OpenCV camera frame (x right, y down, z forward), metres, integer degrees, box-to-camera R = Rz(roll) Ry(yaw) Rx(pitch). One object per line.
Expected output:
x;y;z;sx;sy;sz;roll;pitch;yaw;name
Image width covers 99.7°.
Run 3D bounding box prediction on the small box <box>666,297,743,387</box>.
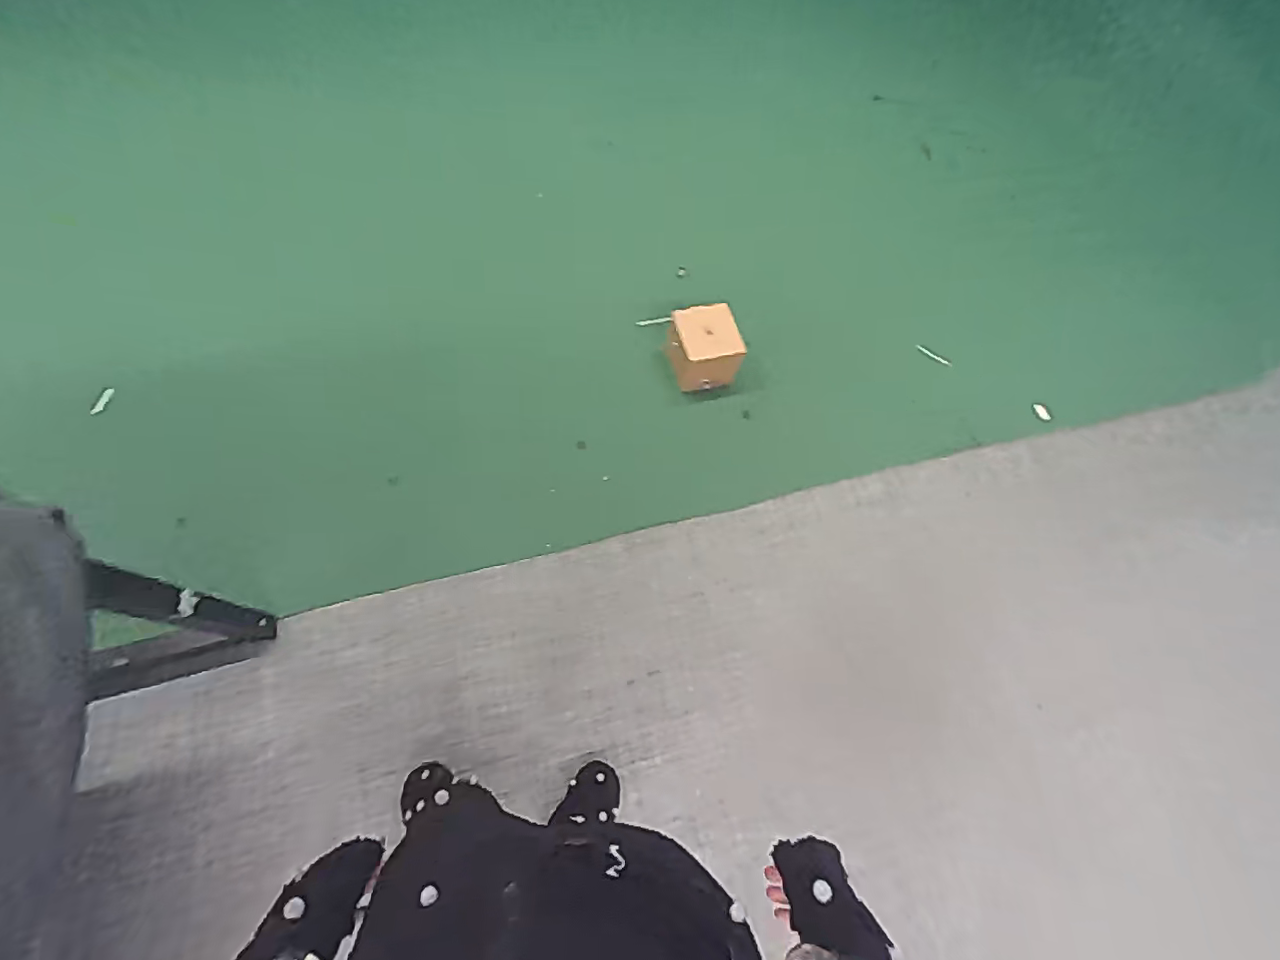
0.179;-0.396;1.566;0.168;0.176;0.179;-11;69;-9;small box
